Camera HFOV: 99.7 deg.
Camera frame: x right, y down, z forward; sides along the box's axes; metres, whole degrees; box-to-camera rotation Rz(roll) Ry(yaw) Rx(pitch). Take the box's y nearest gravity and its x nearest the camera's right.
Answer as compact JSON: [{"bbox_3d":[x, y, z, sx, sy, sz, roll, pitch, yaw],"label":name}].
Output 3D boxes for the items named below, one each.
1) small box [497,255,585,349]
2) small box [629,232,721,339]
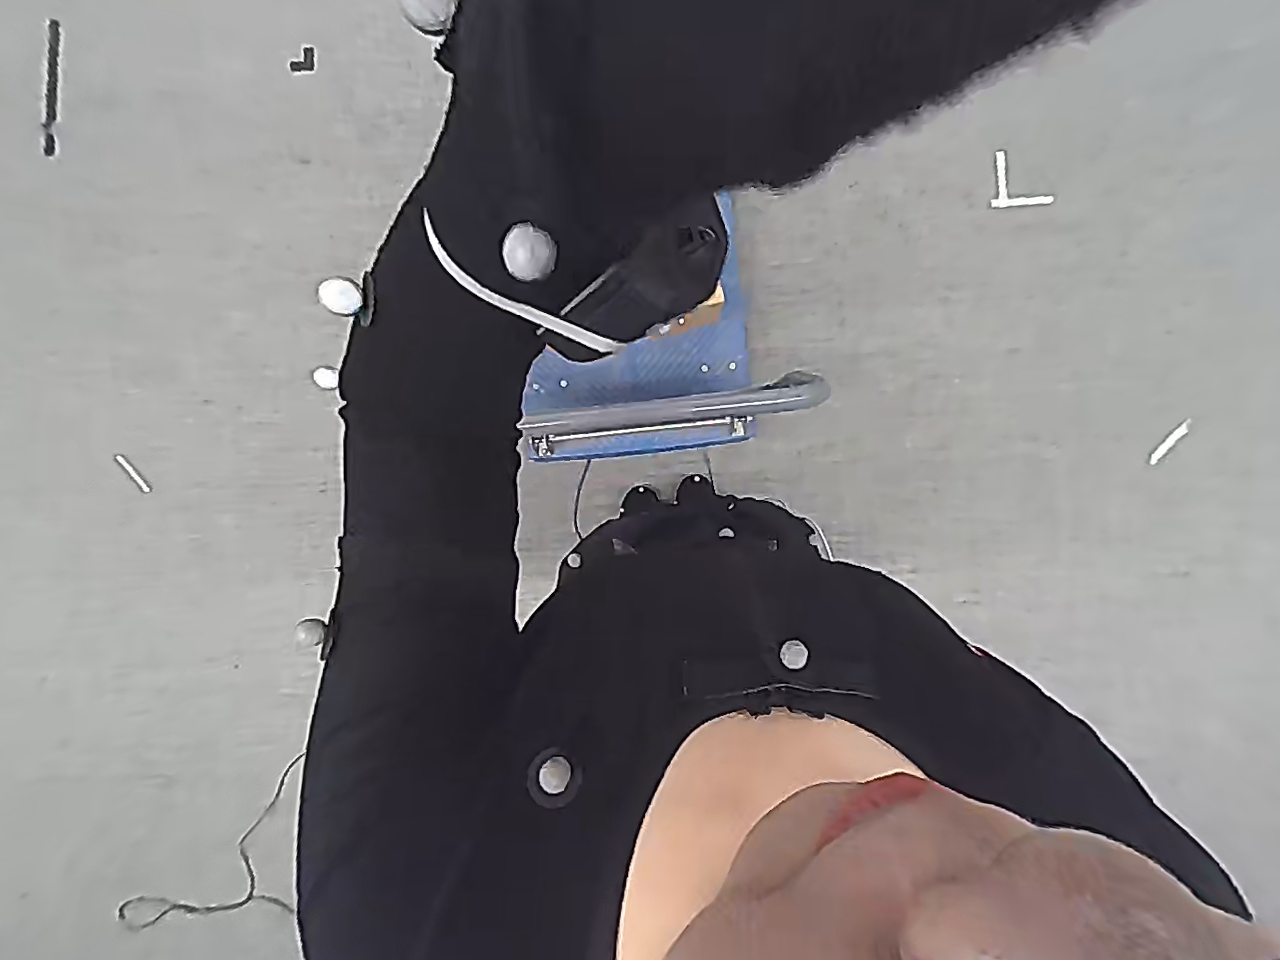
[{"bbox_3d":[-0.224,-0.408,1.258,0.179,0.176,0.168,0,89,-1],"label":"small box"},{"bbox_3d":[0.079,-0.441,1.254,0.179,0.176,0.168,-12,89,1],"label":"small box"}]
